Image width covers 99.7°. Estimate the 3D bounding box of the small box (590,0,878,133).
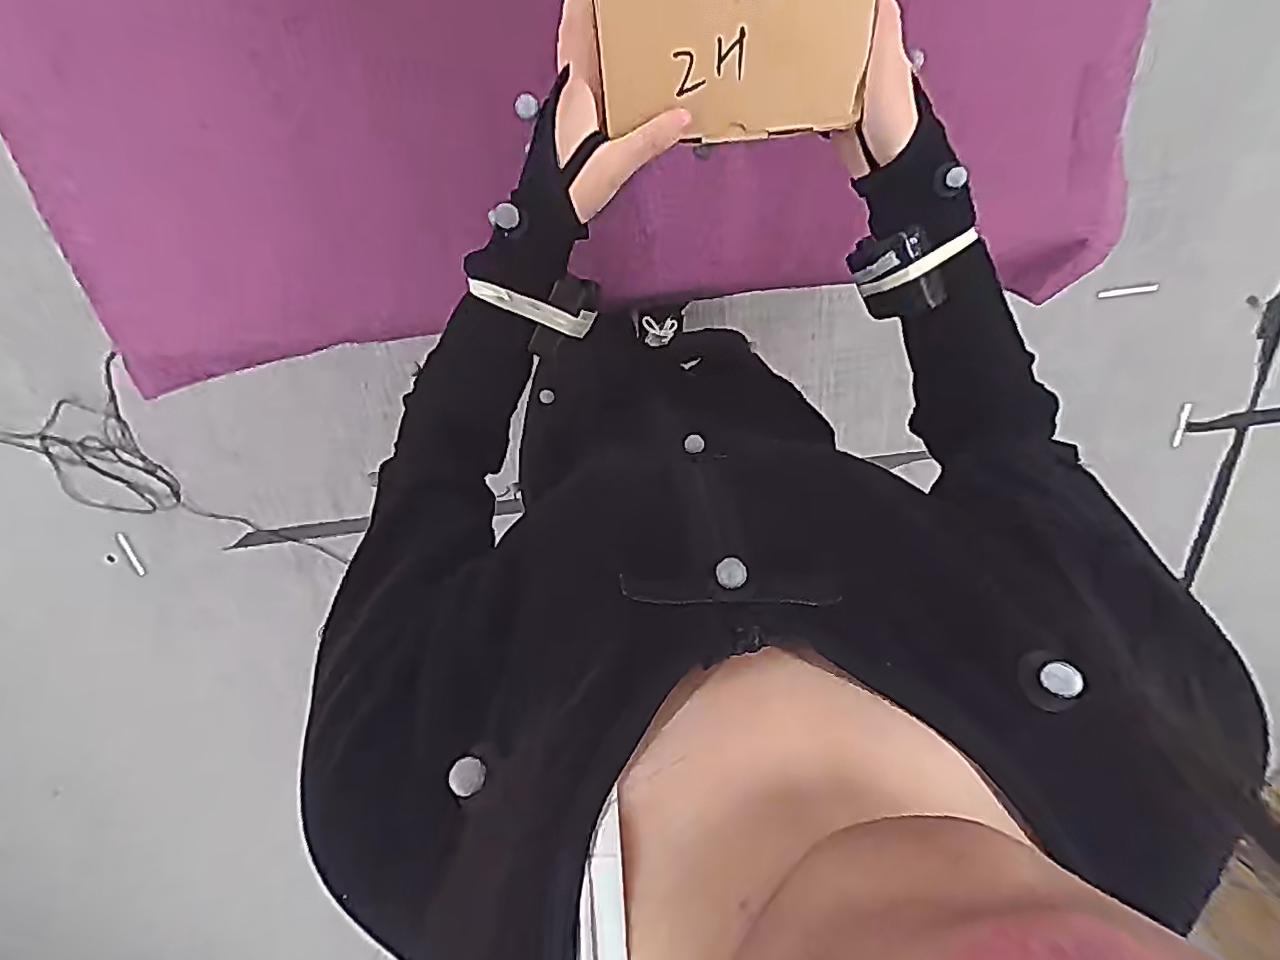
[{"bbox_3d":[0.049,-0.343,0.364,0.168,0.176,0.179,-5,123,-2],"label":"small box"}]
